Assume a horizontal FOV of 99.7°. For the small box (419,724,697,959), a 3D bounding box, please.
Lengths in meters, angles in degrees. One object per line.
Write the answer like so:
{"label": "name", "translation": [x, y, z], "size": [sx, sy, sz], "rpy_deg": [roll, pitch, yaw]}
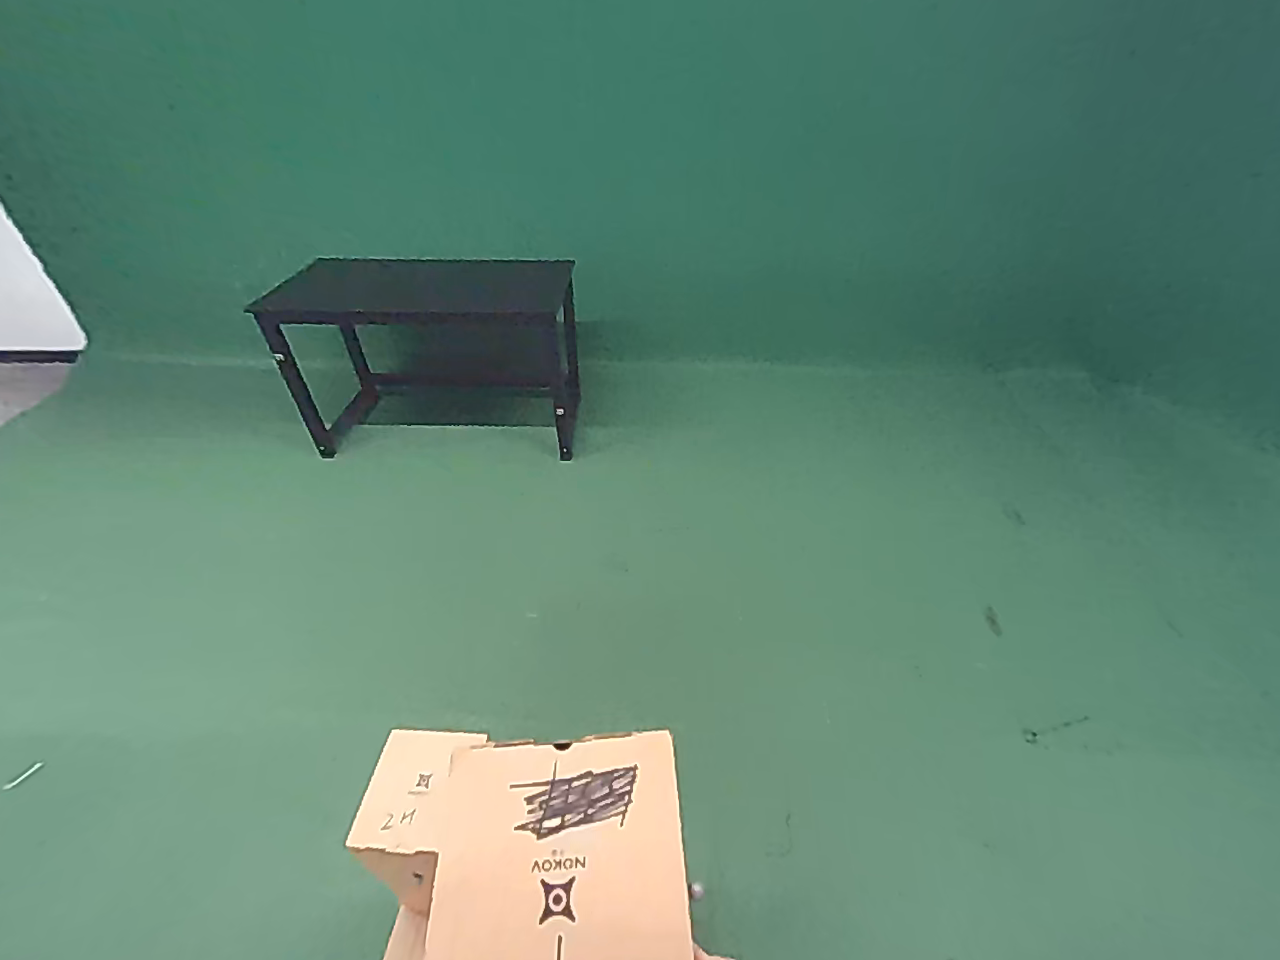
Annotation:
{"label": "small box", "translation": [-0.049, 0.302, 0.405], "size": [0.168, 0.176, 0.179], "rpy_deg": [-4, 51, -1]}

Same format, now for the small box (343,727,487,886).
{"label": "small box", "translation": [-0.340, 0.533, 0.882], "size": [0.168, 0.176, 0.179], "rpy_deg": [2, 39, 3]}
